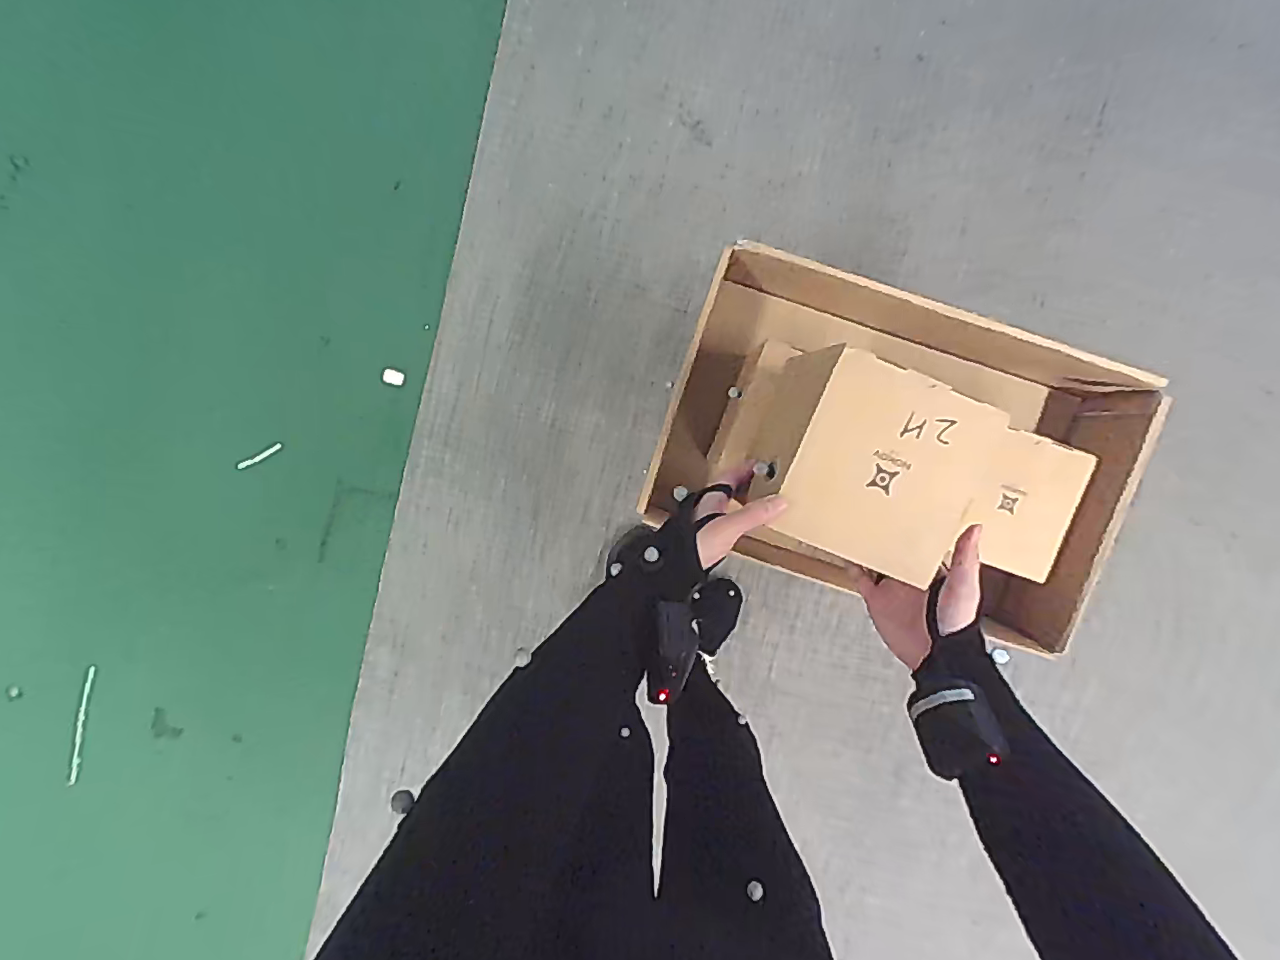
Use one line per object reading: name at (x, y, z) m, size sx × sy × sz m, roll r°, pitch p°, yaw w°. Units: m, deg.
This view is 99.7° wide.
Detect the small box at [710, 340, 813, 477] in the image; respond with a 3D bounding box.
small box at (0.206, -0.073, 0.761) m, size 0.168 × 0.176 × 0.179 m, roll 21°, pitch 94°, yaw 1°

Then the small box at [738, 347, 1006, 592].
small box at (0.213, -0.016, 0.556) m, size 0.168 × 0.176 × 0.179 m, roll 22°, pitch 97°, yaw -5°
